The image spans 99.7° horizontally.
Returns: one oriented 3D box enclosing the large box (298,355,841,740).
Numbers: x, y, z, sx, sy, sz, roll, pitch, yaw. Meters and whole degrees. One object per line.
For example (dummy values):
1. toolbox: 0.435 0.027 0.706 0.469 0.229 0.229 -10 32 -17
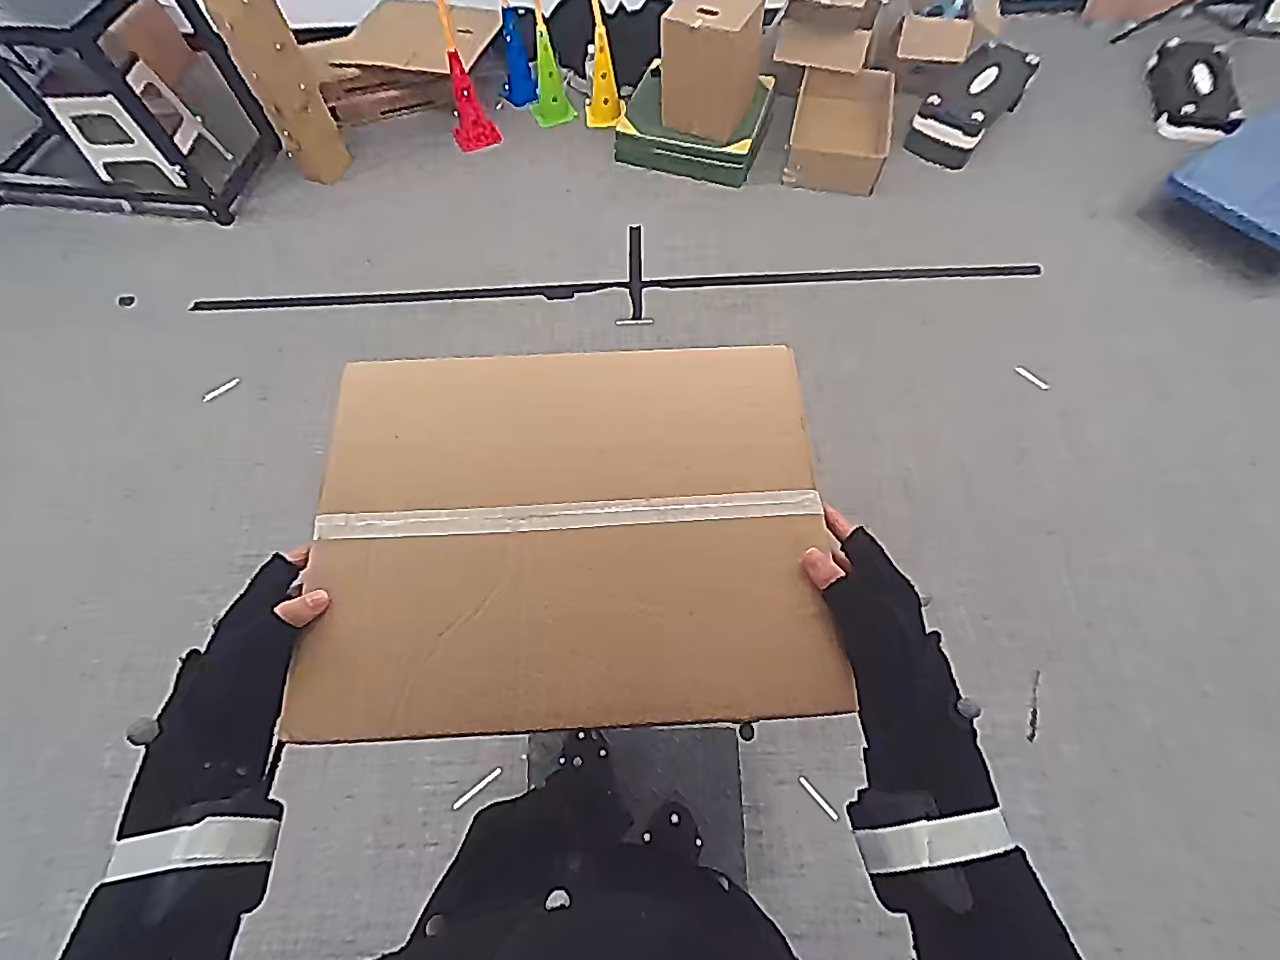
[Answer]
1. large box: -0.056 0.088 0.584 0.408 0.320 0.320 -2 67 -2
